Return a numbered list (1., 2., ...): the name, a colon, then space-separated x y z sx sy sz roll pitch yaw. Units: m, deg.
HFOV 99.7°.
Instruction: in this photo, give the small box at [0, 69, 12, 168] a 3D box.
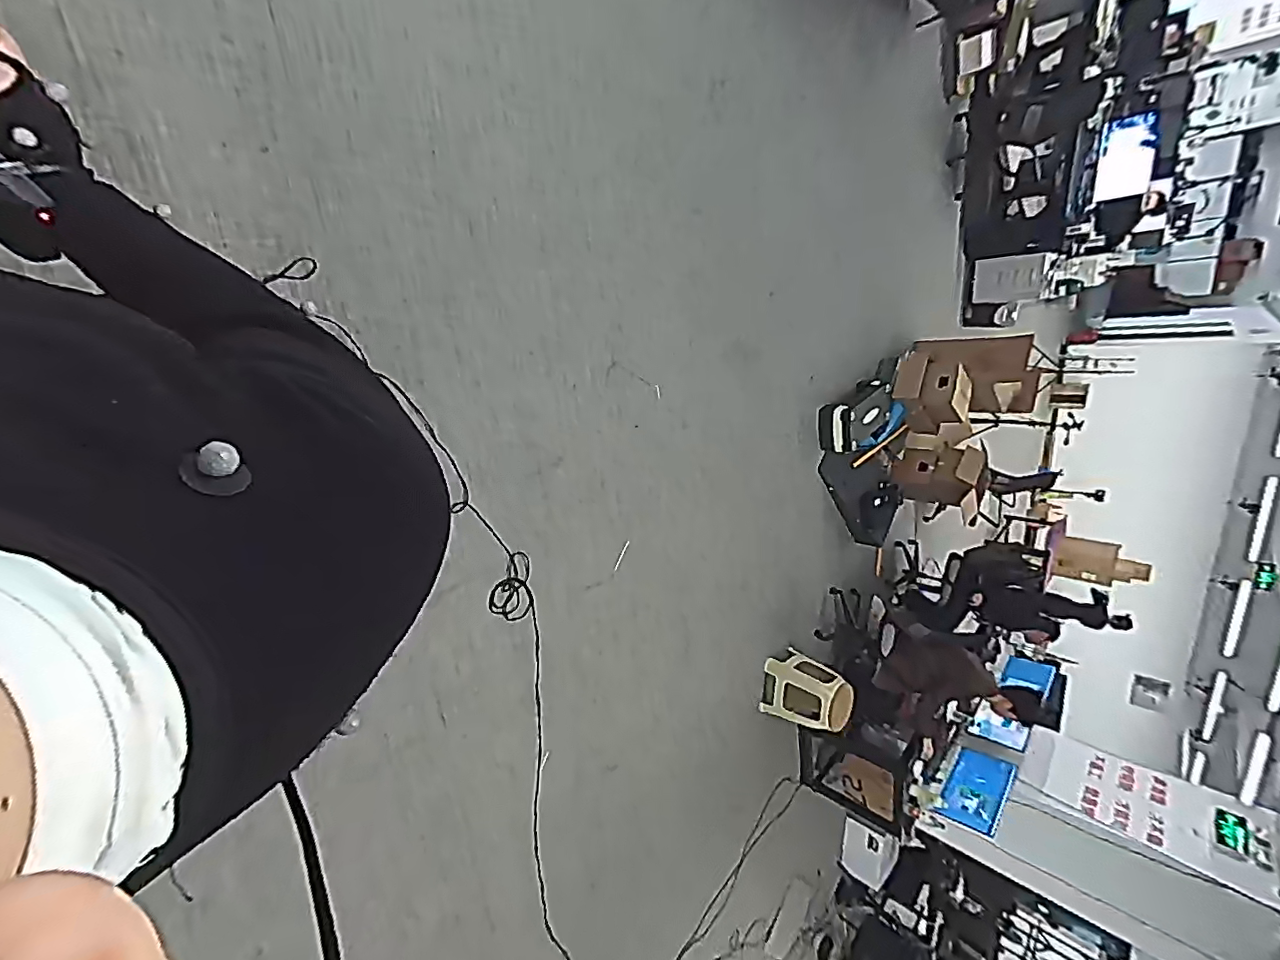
1. small box: -0.650 -0.369 0.432 0.179 0.176 0.168 -12 104 -45
